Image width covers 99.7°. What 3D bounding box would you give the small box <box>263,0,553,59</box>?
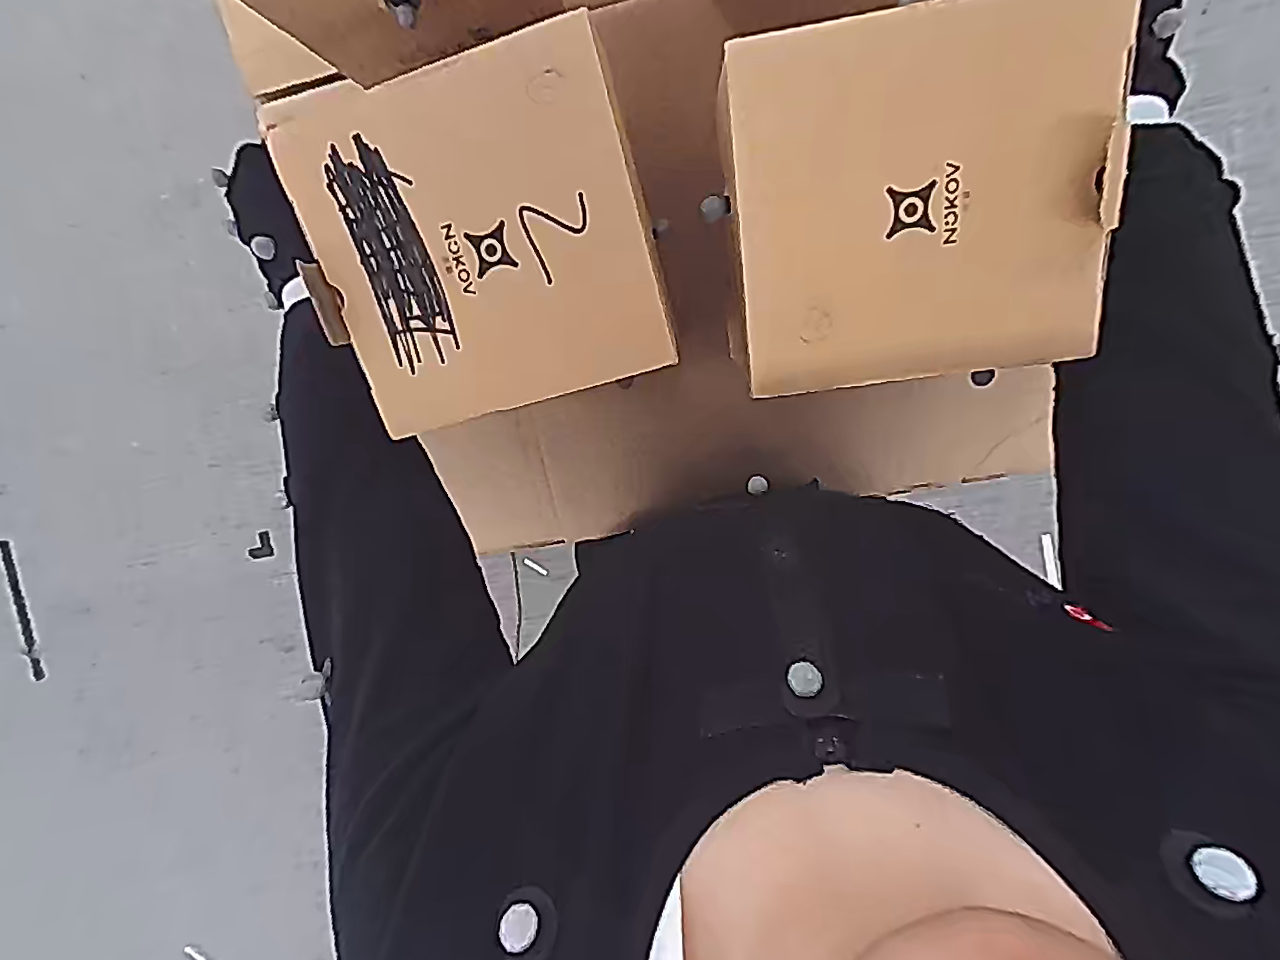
[{"bbox_3d":[-0.158,-0.374,0.298,0.168,0.176,0.179,-10,105,8],"label":"small box"}]
